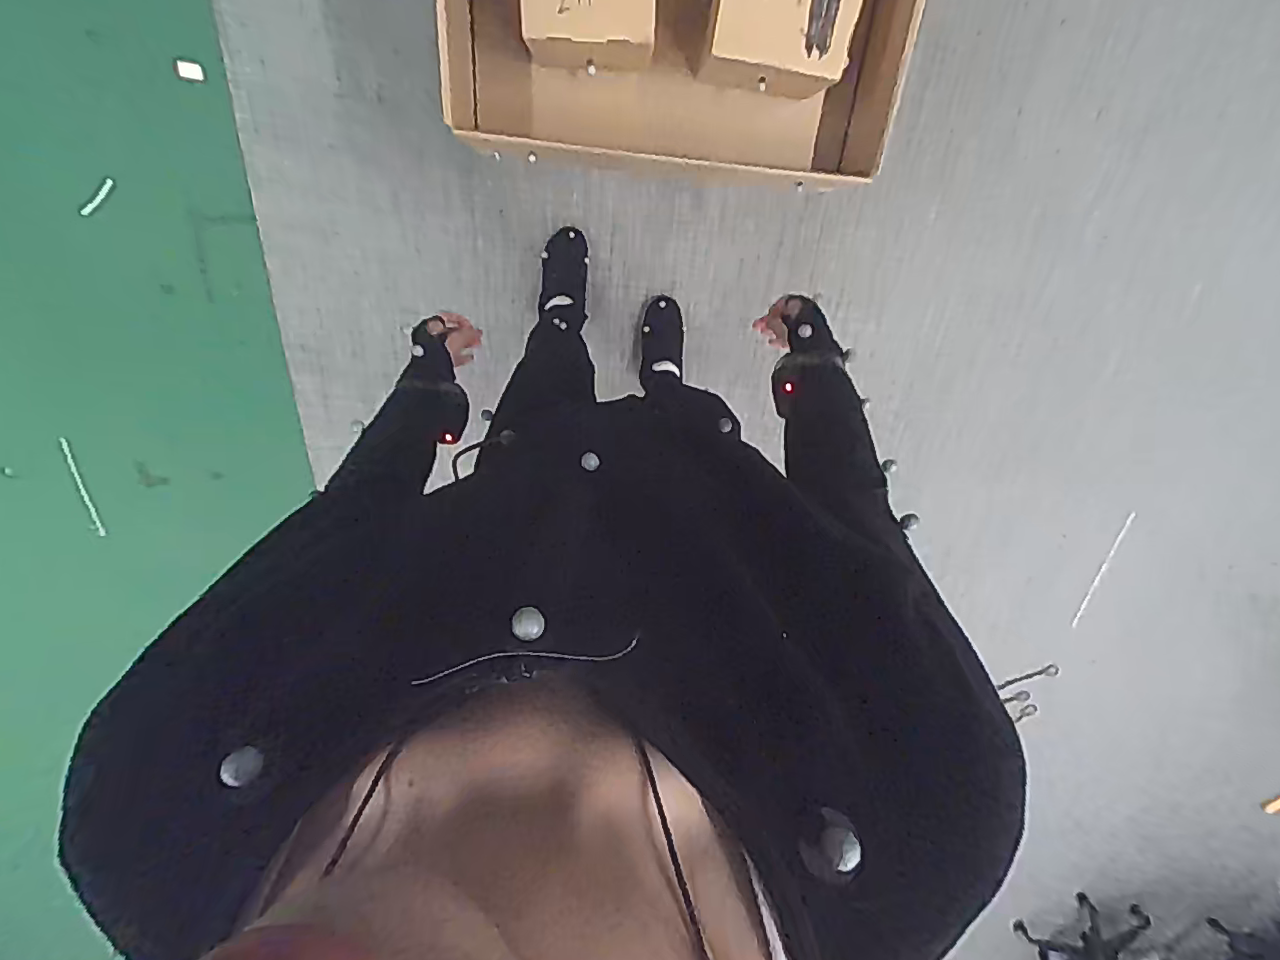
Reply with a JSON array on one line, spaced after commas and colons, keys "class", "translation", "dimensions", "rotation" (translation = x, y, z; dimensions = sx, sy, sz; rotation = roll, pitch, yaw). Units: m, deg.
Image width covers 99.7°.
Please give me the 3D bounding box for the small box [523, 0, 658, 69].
[{"class": "small box", "translation": [-0.061, -0.661, 0.698], "dimensions": [0.168, 0.176, 0.179], "rotation": [1, 117, -2]}]
